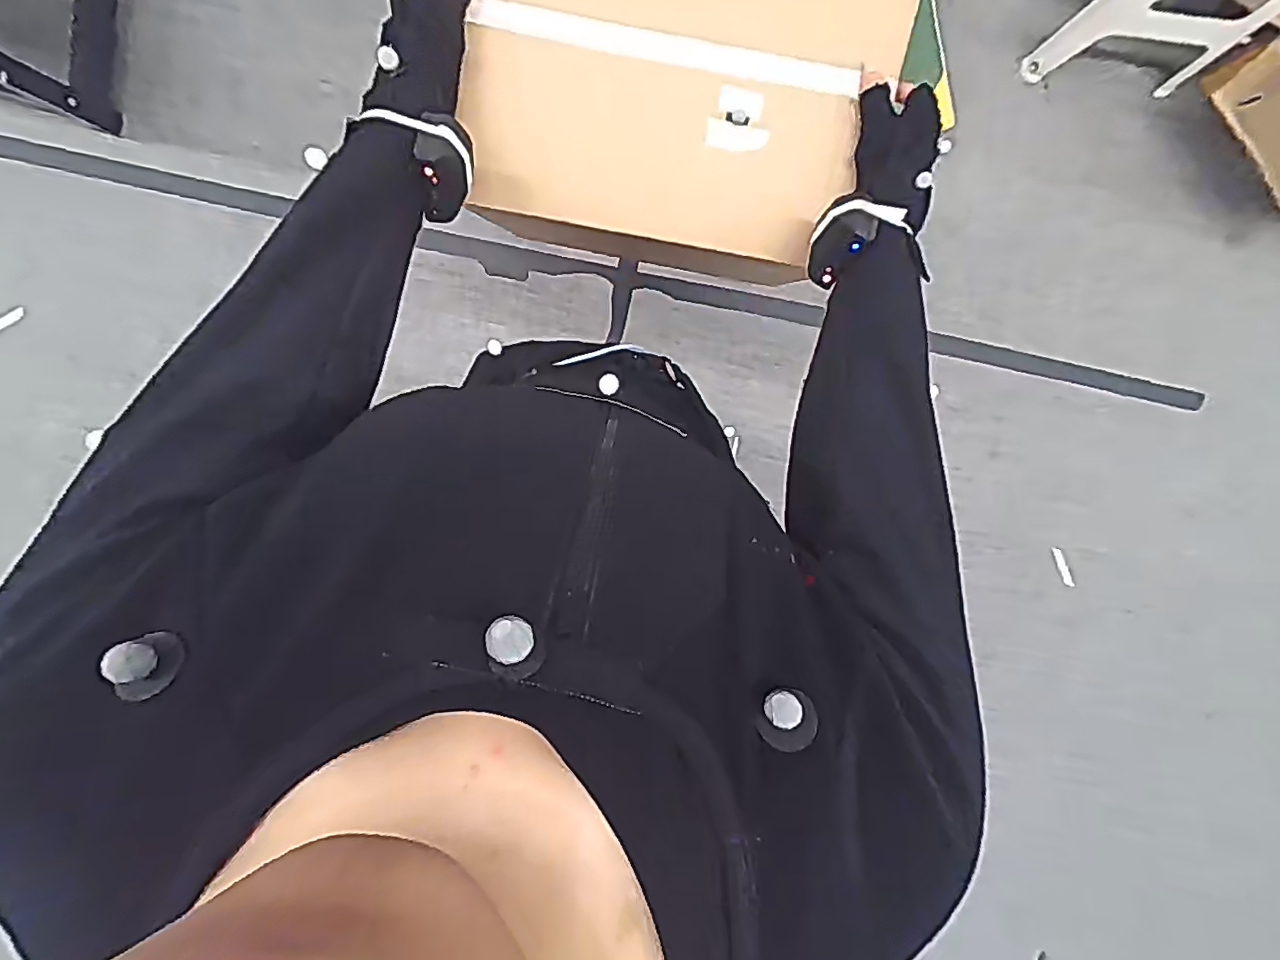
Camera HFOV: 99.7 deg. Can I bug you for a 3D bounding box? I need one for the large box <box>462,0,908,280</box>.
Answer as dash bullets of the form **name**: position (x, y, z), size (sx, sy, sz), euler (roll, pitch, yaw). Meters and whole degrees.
- **large box**: position (0.035, -0.439, 0.650), size (0.408, 0.320, 0.320), euler (9, 108, -3)
